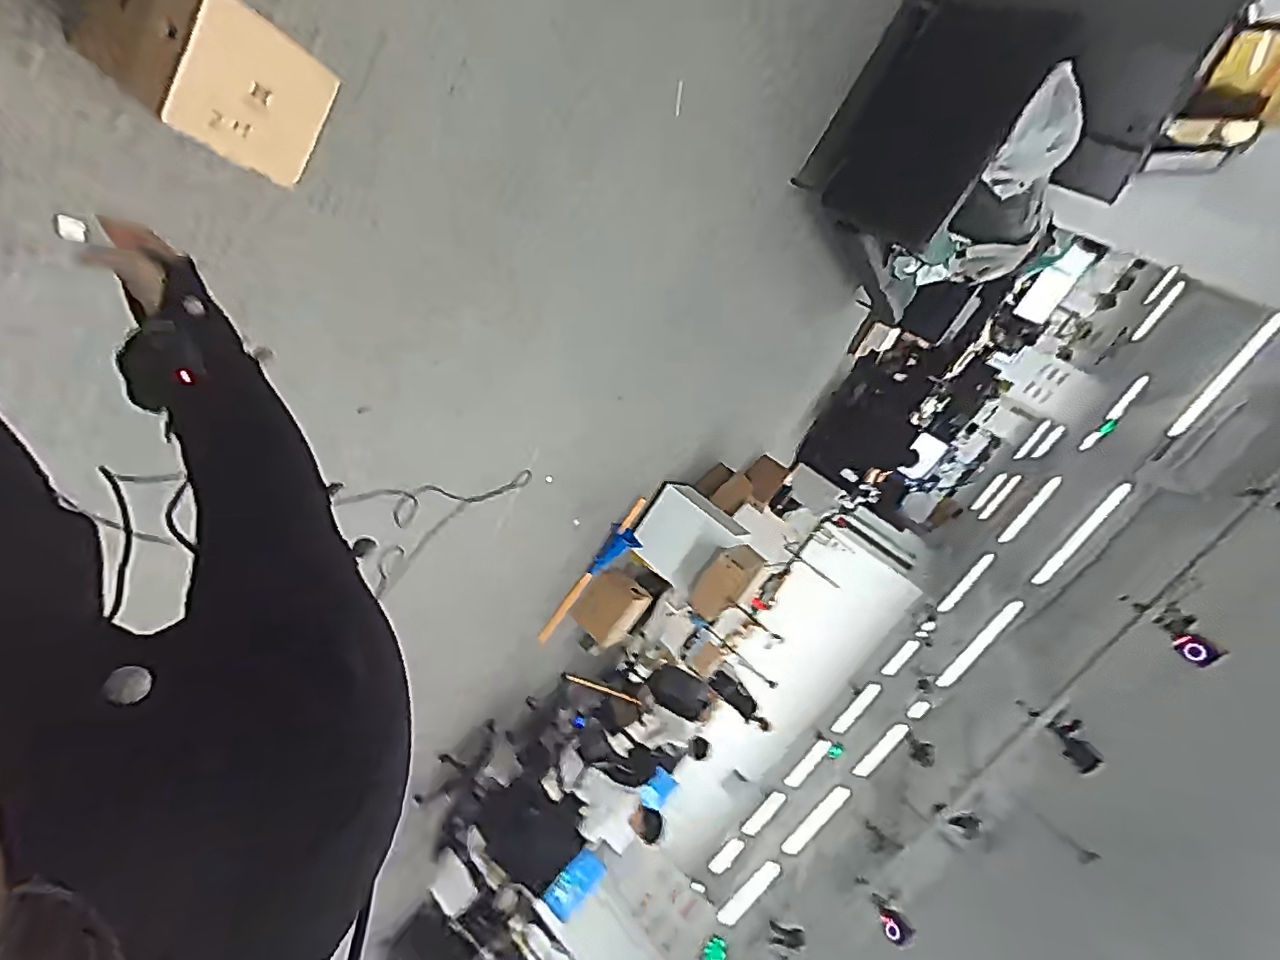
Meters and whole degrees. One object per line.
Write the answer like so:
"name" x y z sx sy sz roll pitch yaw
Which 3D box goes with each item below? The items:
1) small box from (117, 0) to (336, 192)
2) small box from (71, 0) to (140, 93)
"small box" -0.573 -0.552 0.750 0.179 0.176 0.168 -57 157 12
"small box" -0.696 -0.643 0.811 0.179 0.176 0.168 -55 158 11
